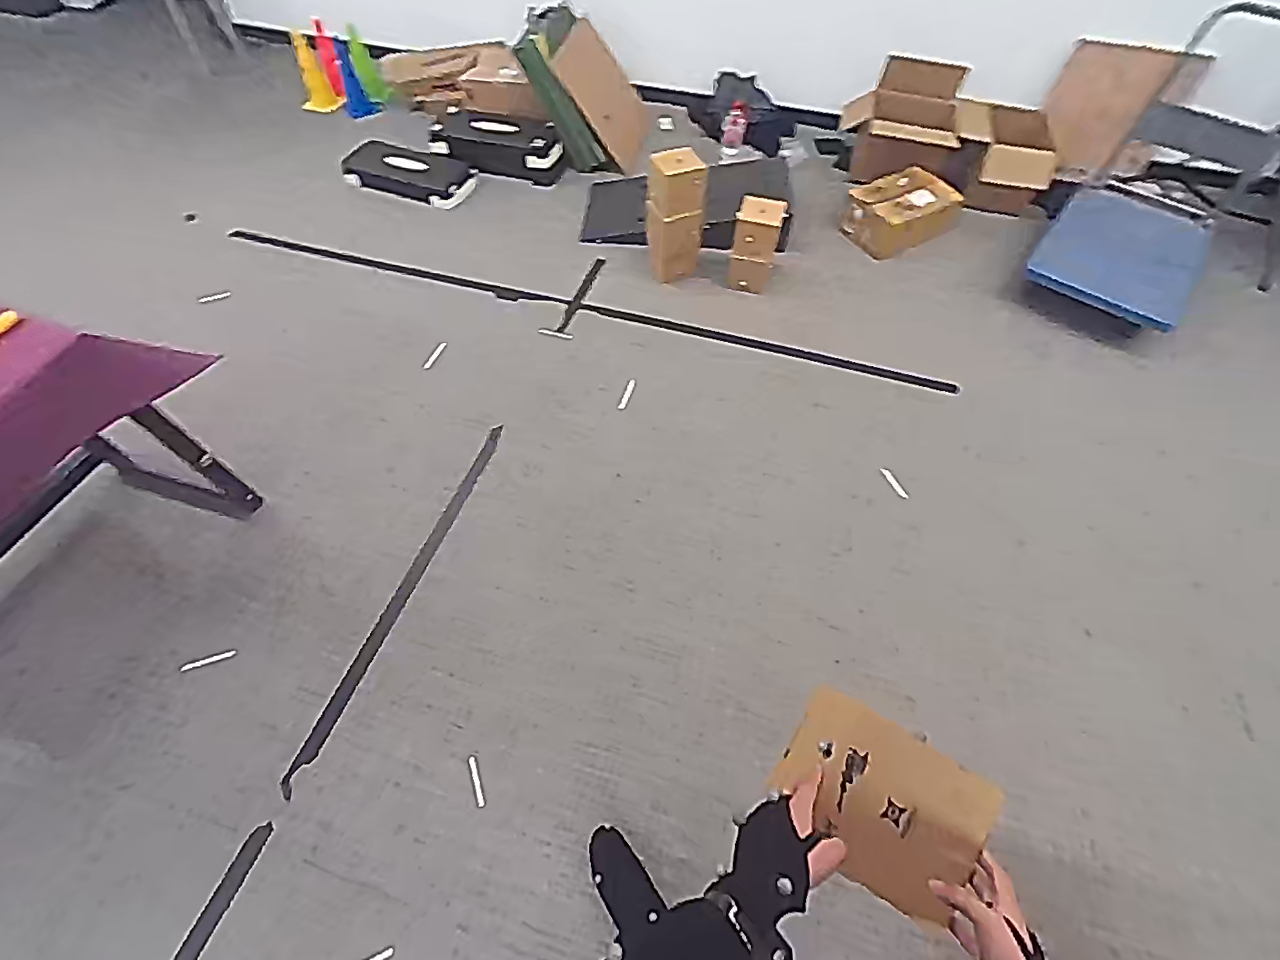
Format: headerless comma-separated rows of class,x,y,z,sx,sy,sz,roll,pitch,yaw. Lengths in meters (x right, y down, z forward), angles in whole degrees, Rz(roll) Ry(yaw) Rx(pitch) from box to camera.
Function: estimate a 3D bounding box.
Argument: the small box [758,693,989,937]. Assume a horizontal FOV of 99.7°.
small box,0.272,0.389,0.671,0.179,0.176,0.168,31,80,8
